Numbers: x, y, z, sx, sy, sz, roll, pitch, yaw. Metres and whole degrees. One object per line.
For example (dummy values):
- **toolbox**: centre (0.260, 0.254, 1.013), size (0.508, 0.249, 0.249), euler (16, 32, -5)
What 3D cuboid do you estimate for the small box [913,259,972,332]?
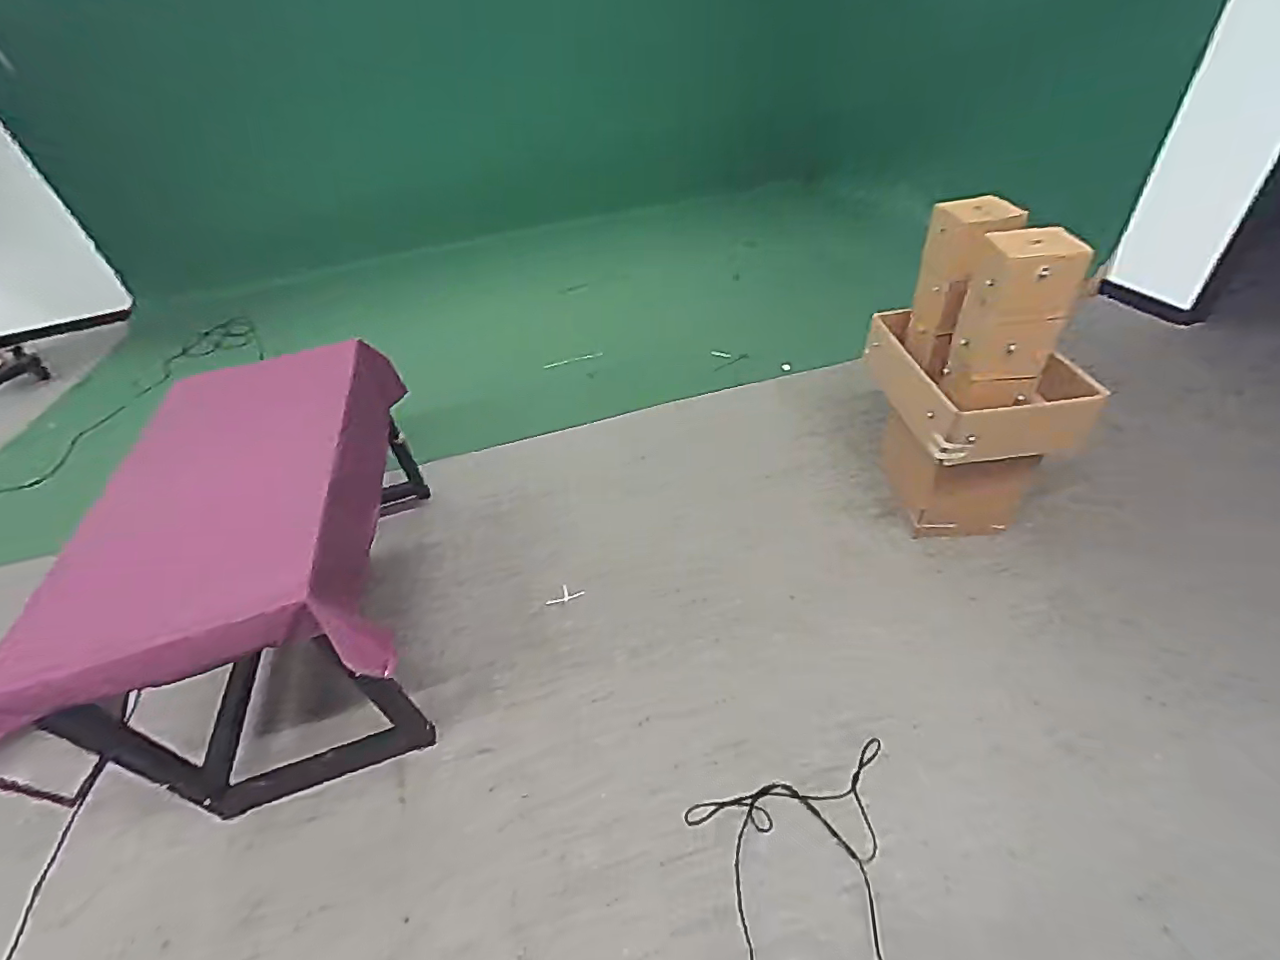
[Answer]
- **small box**: centre (0.968, -0.577, 1.661), size (0.168, 0.176, 0.179), euler (-9, 43, 2)

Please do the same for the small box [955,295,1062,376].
- **small box**: centre (0.971, -0.391, 1.449), size (0.179, 0.176, 0.168), euler (-4, 42, 8)

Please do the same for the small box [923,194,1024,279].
- **small box**: centre (0.943, -0.696, 1.550), size (0.168, 0.176, 0.179), euler (-10, 43, 2)

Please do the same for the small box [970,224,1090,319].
- **small box**: centre (0.948, -0.513, 1.341), size (0.179, 0.176, 0.168), euler (-2, 43, 8)
